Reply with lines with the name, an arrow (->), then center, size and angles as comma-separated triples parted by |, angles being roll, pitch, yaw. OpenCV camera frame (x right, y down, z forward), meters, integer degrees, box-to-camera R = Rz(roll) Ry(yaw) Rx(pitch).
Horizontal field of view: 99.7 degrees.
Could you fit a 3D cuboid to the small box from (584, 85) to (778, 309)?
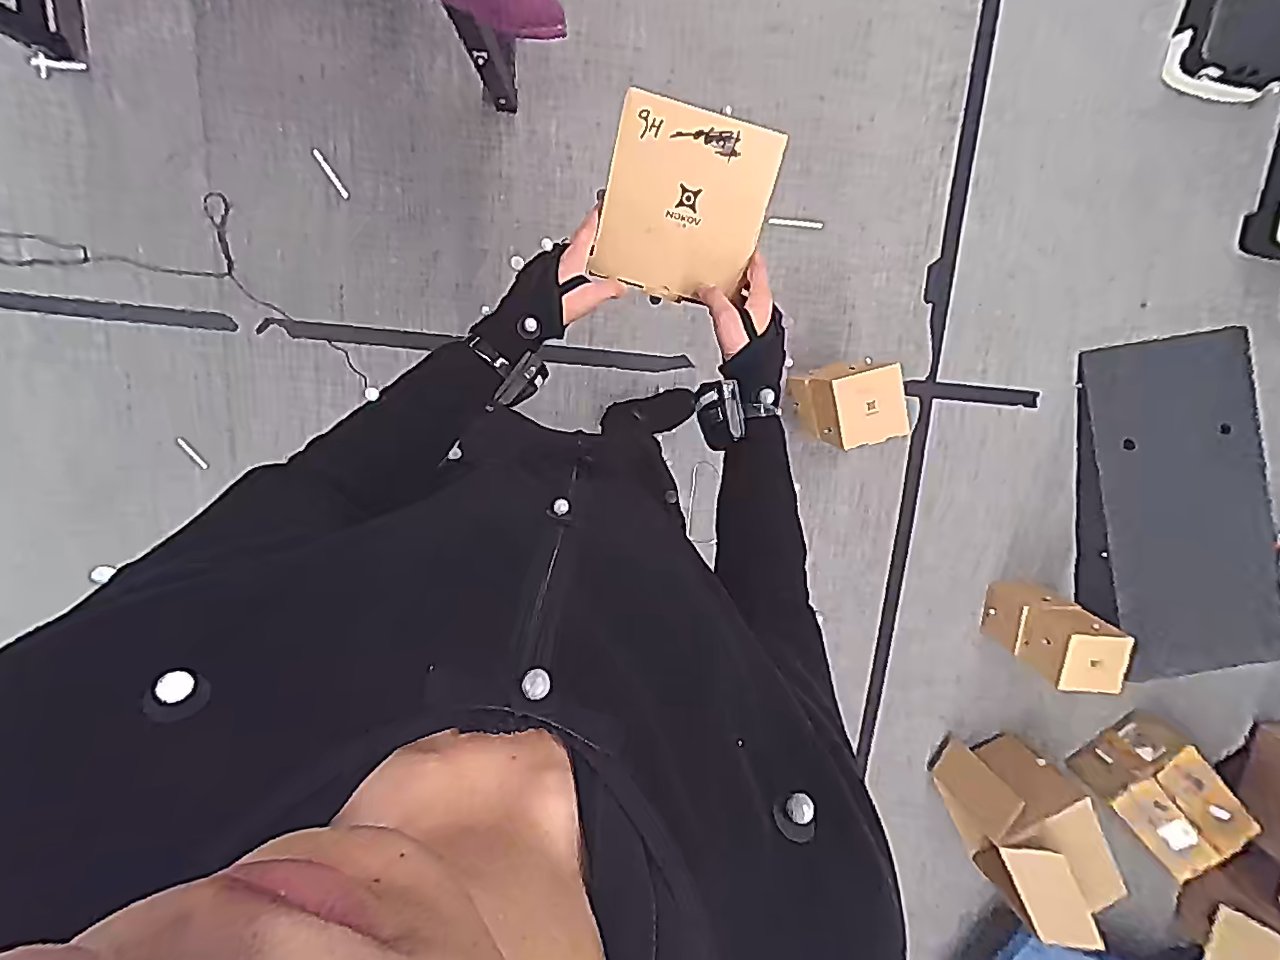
small box -> 0.039, -0.315, 0.630 | 0.168, 0.176, 0.179 | 13, 112, -6
